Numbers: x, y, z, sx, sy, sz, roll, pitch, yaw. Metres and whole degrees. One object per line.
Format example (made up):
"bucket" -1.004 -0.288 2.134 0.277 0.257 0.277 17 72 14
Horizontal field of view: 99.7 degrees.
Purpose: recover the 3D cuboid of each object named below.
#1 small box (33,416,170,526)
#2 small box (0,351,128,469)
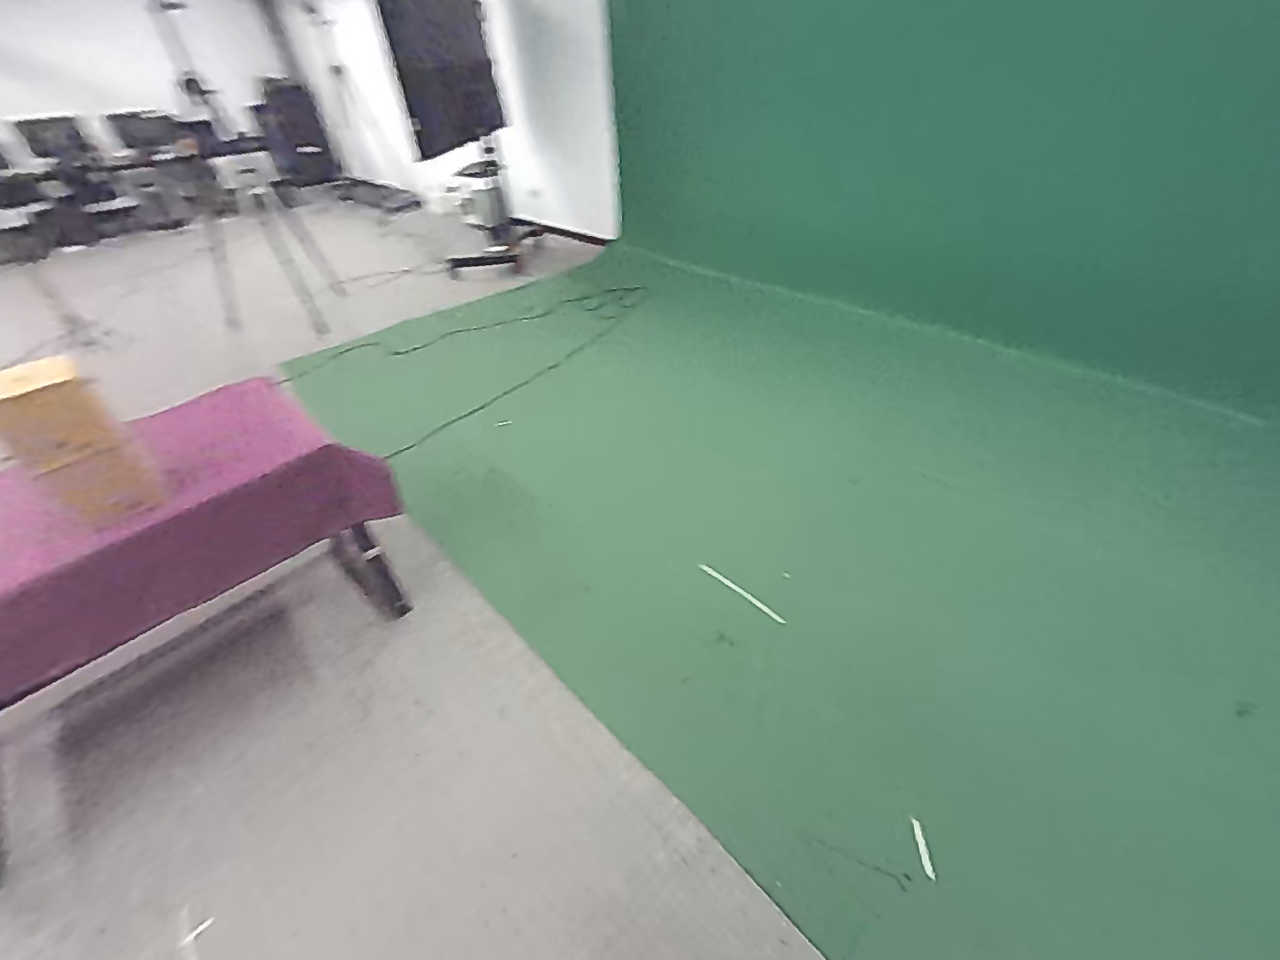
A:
"small box" -1.249 -0.023 1.260 0.168 0.176 0.179 -33 48 -30
"small box" -1.257 -0.151 1.159 0.168 0.176 0.179 -33 48 -31
